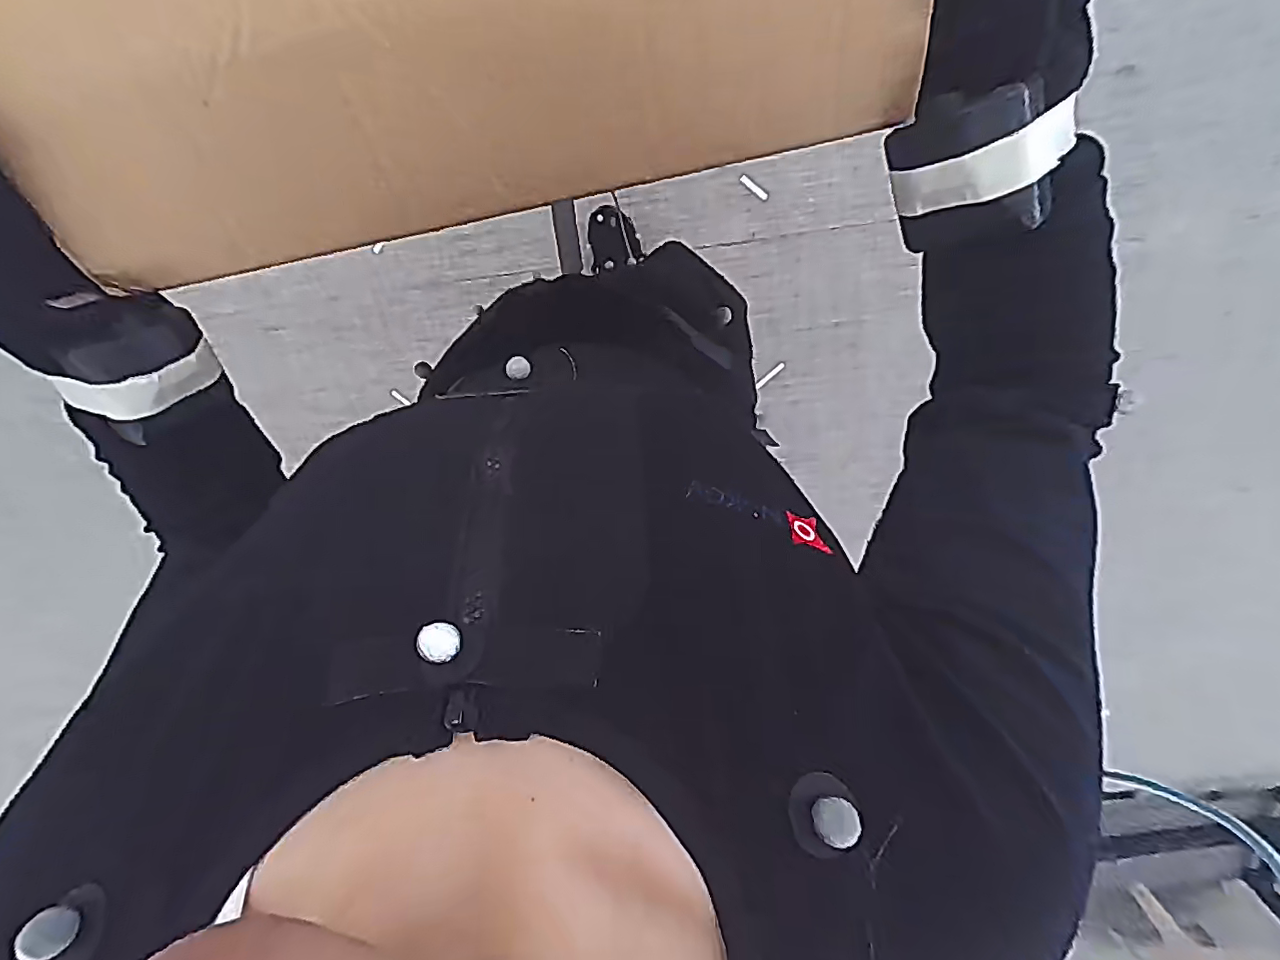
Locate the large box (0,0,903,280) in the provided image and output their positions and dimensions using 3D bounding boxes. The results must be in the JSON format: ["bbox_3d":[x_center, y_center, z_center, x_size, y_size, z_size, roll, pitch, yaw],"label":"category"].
[{"bbox_3d":[-0.114,-0.351,0.261,0.408,0.320,0.320,-10,136,4],"label":"large box"}]
